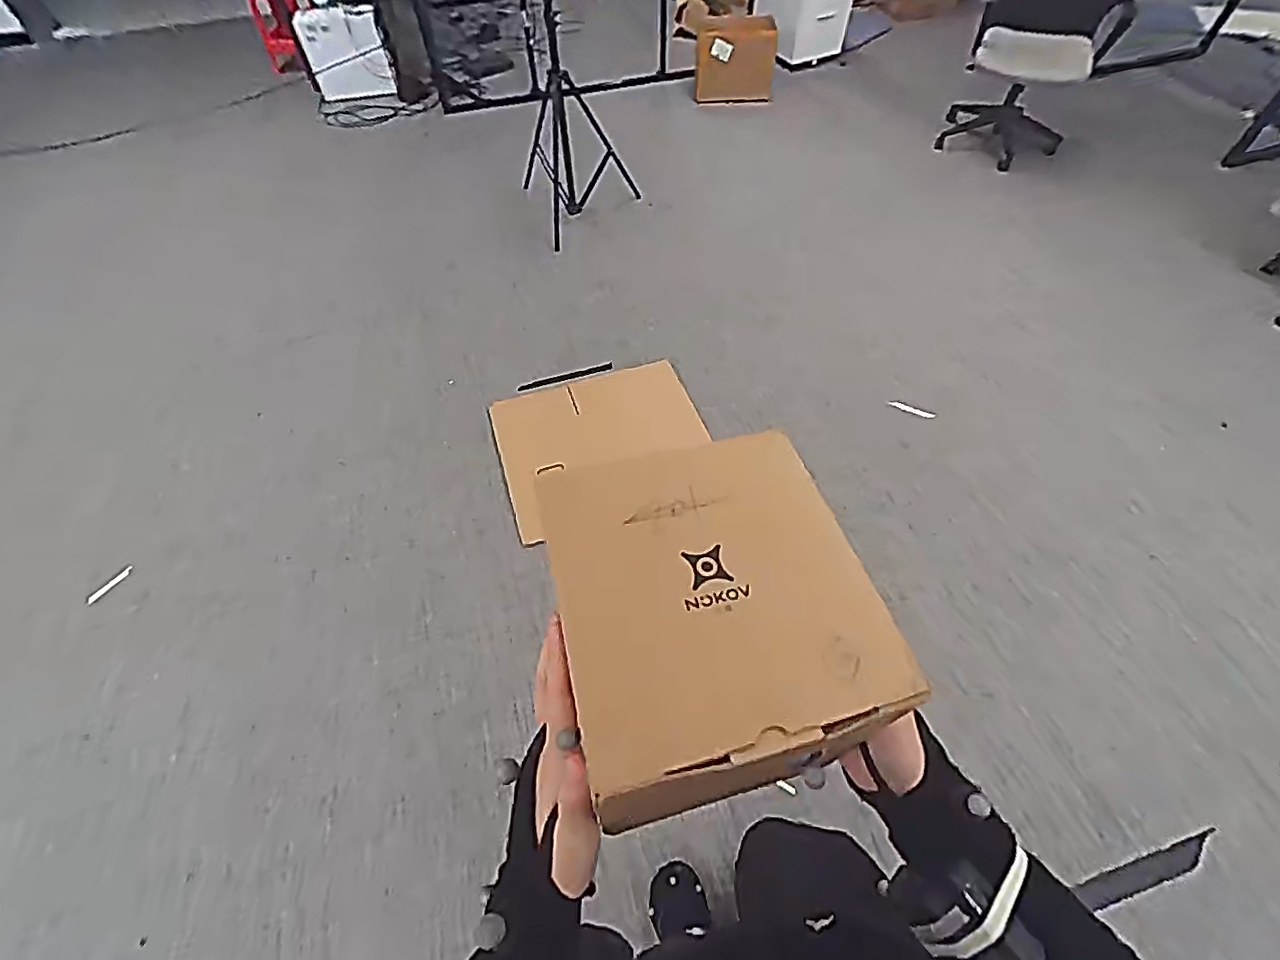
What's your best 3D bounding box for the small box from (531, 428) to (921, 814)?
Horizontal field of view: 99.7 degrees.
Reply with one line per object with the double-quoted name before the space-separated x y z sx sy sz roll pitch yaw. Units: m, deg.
"small box" 0.033 0.097 0.352 0.168 0.176 0.179 -12 53 -11
